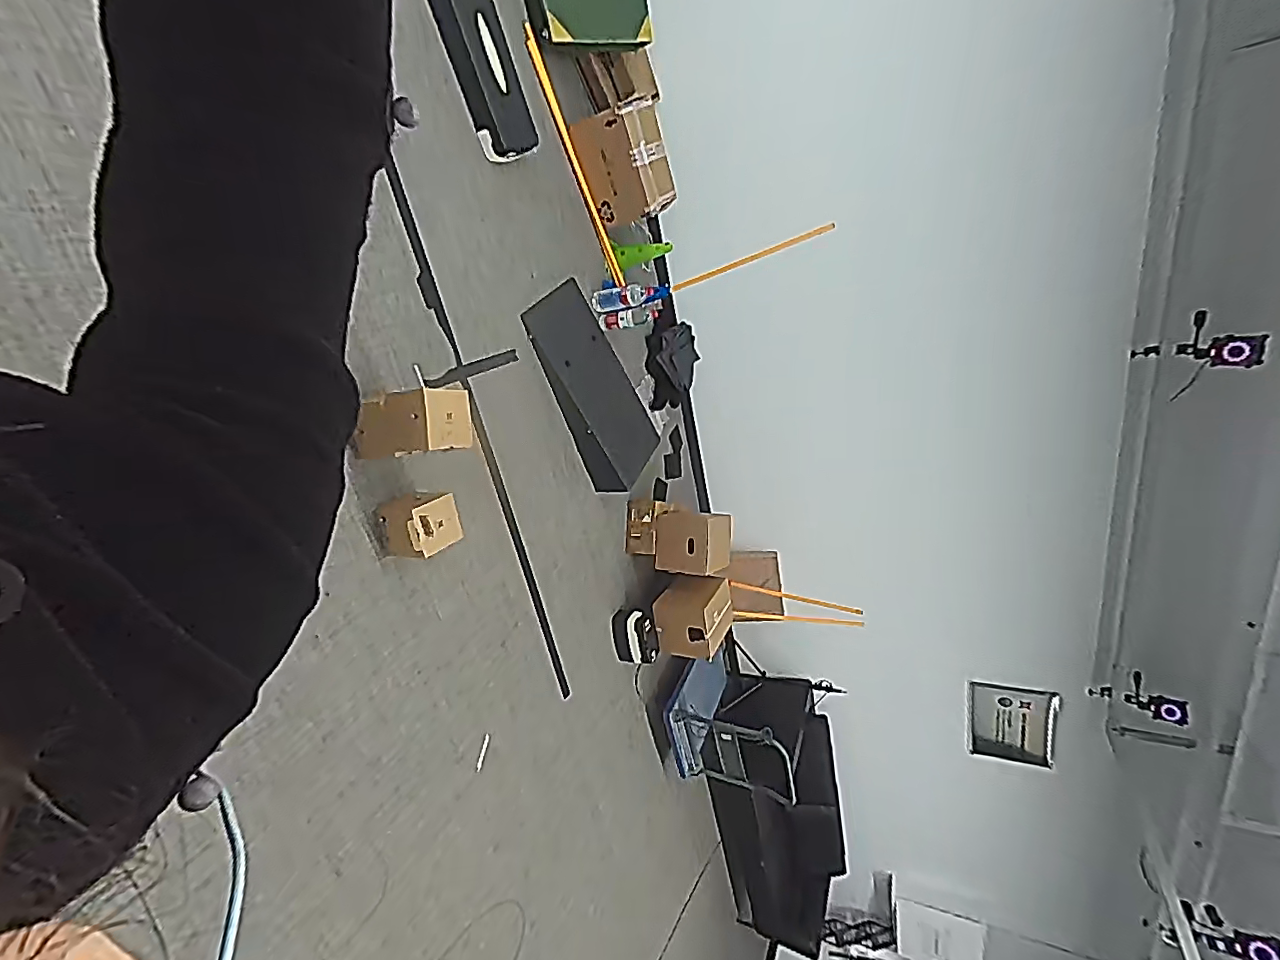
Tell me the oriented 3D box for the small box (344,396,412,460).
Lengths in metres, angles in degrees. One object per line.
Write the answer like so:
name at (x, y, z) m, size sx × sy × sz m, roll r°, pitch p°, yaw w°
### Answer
small box at (-0.773, -0.167, 1.671) m, size 0.168 × 0.176 × 0.179 m, roll -36°, pitch 121°, yaw -57°

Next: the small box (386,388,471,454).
small box at (-0.626, -0.171, 1.596) m, size 0.168 × 0.176 × 0.179 m, roll -12°, pitch 100°, yaw -61°

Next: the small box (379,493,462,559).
small box at (-0.721, 0.147, 1.765) m, size 0.179 × 0.176 × 0.168 m, roll -35°, pitch 120°, yaw -58°
